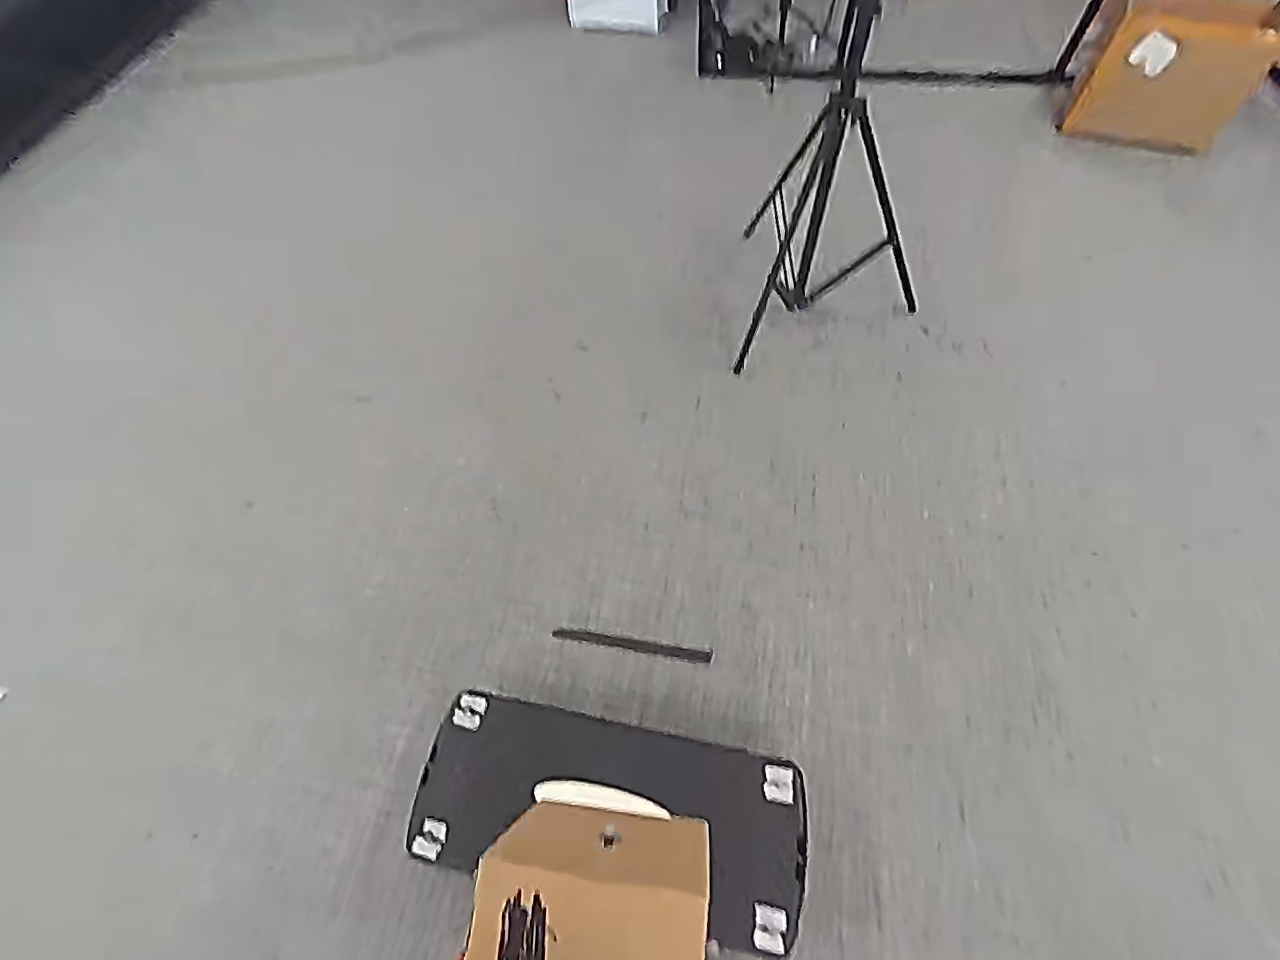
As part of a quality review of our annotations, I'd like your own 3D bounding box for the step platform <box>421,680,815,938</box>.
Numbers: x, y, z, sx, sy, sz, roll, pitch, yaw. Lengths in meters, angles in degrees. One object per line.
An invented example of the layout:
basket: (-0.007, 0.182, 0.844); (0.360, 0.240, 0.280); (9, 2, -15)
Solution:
step platform: (-0.035, 0.581, 0.998); (0.684, 0.204, 0.286); (8, 61, 9)
